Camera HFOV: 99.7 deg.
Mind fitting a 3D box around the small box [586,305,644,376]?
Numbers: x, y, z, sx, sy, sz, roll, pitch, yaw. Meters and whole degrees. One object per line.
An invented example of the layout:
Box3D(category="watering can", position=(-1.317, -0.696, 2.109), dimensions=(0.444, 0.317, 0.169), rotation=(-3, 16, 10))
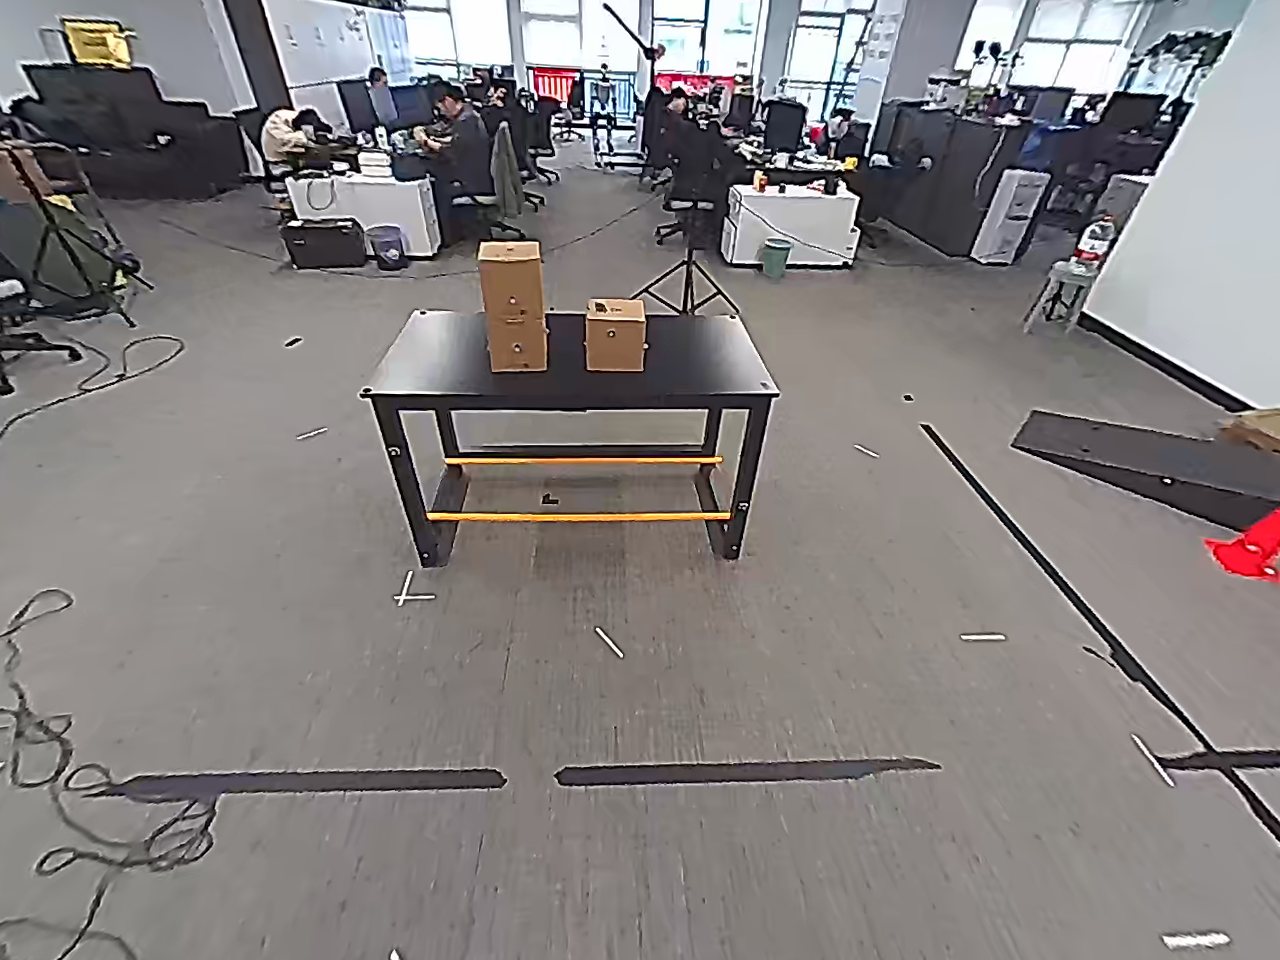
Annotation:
Box3D(category="small box", position=(-0.079, -0.439, 1.705), dimensions=(0.179, 0.176, 0.168), rotation=(1, 38, -3))

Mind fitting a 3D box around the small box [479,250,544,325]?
Box3D(category="small box", position=(-0.371, -0.565, 1.584), dimensions=(0.168, 0.176, 0.179), rotation=(-5, 39, -8))

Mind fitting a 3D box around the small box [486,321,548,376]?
Box3D(category="small box", position=(-0.377, -0.432, 1.683), dimensions=(0.168, 0.176, 0.179), rotation=(-4, 39, -7))
